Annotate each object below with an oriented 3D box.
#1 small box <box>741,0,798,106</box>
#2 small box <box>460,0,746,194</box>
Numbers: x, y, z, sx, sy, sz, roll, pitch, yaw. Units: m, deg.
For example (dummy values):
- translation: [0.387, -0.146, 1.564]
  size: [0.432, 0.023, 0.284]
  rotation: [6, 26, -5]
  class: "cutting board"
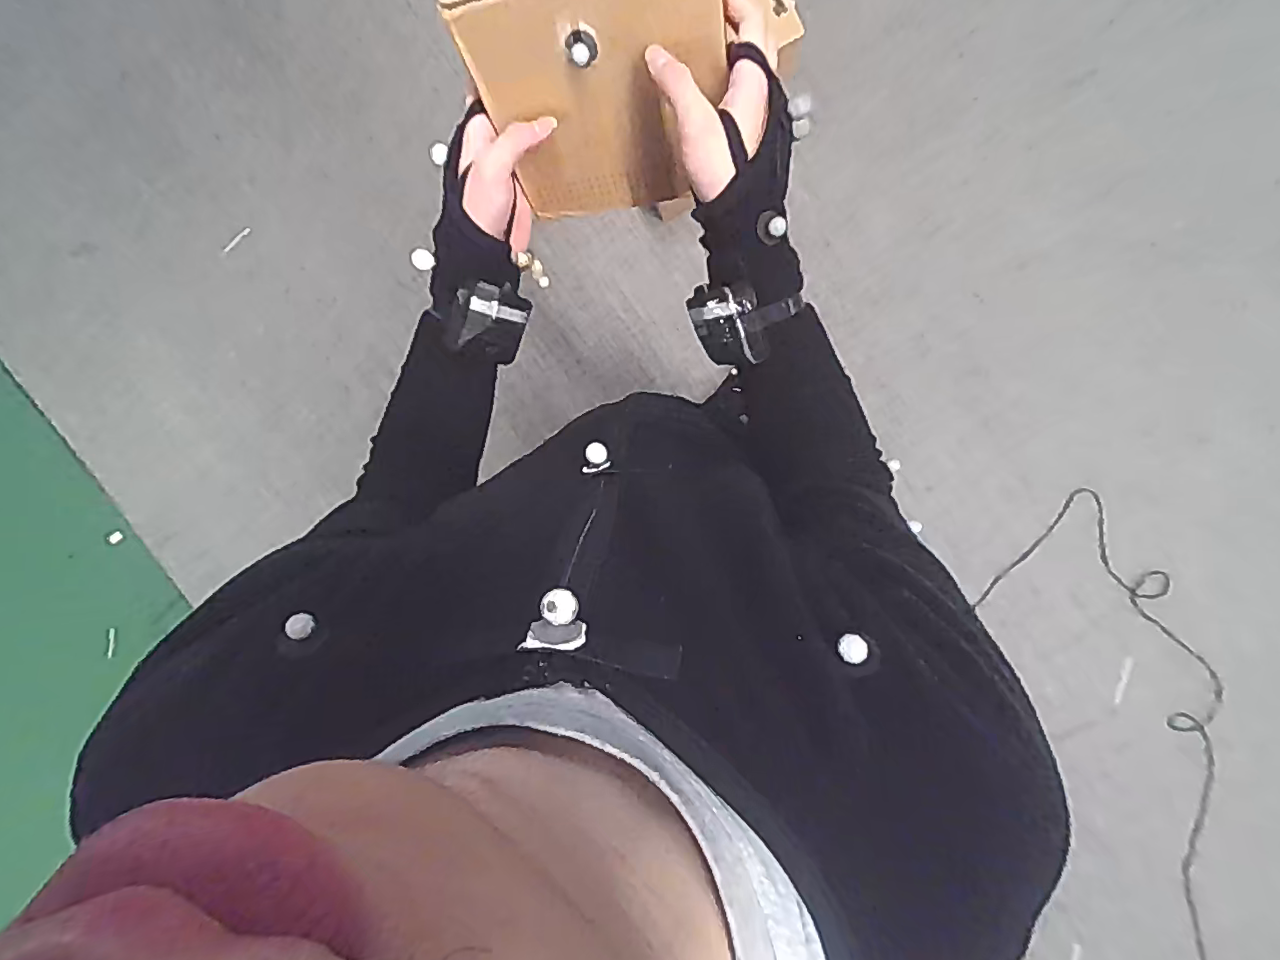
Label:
- translation: [0.165, -0.809, 1.002]
  size: [0.179, 0.176, 0.168]
  rotation: [-27, 95, 7]
  class: "small box"
- translation: [-0.015, -0.340, 0.397]
  size: [0.179, 0.176, 0.168]
  rotation: [-3, 67, 11]
  class: "small box"
